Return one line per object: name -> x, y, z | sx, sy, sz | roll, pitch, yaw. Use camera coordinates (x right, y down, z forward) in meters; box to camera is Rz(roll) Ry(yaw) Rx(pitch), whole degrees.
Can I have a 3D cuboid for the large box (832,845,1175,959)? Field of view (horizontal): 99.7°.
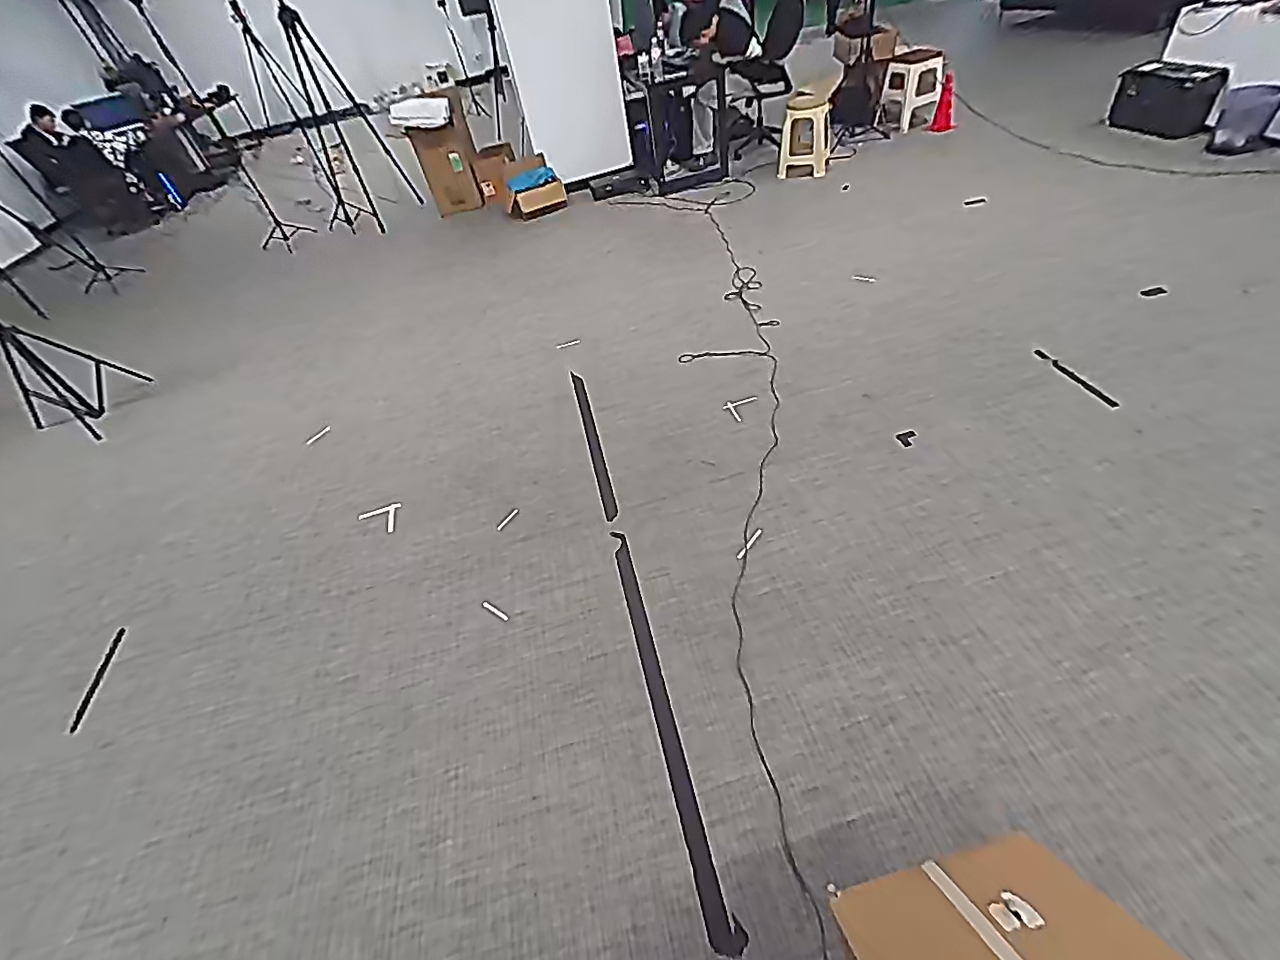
large box -> 0.473, 0.704, 0.589 | 0.320, 0.408, 0.320 | -16, 82, -1
